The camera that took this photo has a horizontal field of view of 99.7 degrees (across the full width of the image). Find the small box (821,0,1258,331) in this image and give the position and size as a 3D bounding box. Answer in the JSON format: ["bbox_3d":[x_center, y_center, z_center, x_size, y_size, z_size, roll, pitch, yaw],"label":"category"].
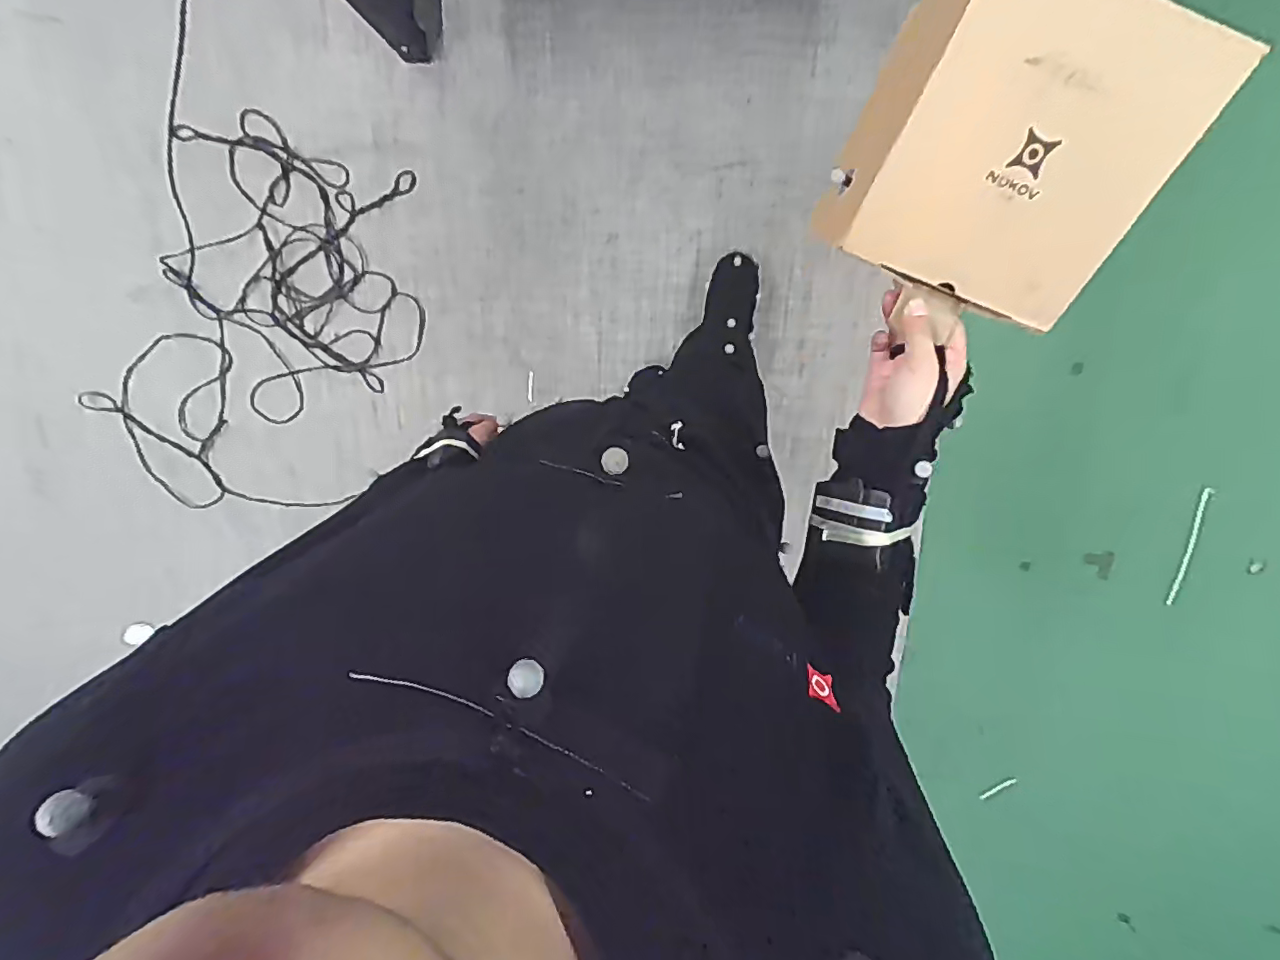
[{"bbox_3d":[0.255,-0.242,0.409,0.168,0.176,0.179,20,120,-4],"label":"small box"}]
